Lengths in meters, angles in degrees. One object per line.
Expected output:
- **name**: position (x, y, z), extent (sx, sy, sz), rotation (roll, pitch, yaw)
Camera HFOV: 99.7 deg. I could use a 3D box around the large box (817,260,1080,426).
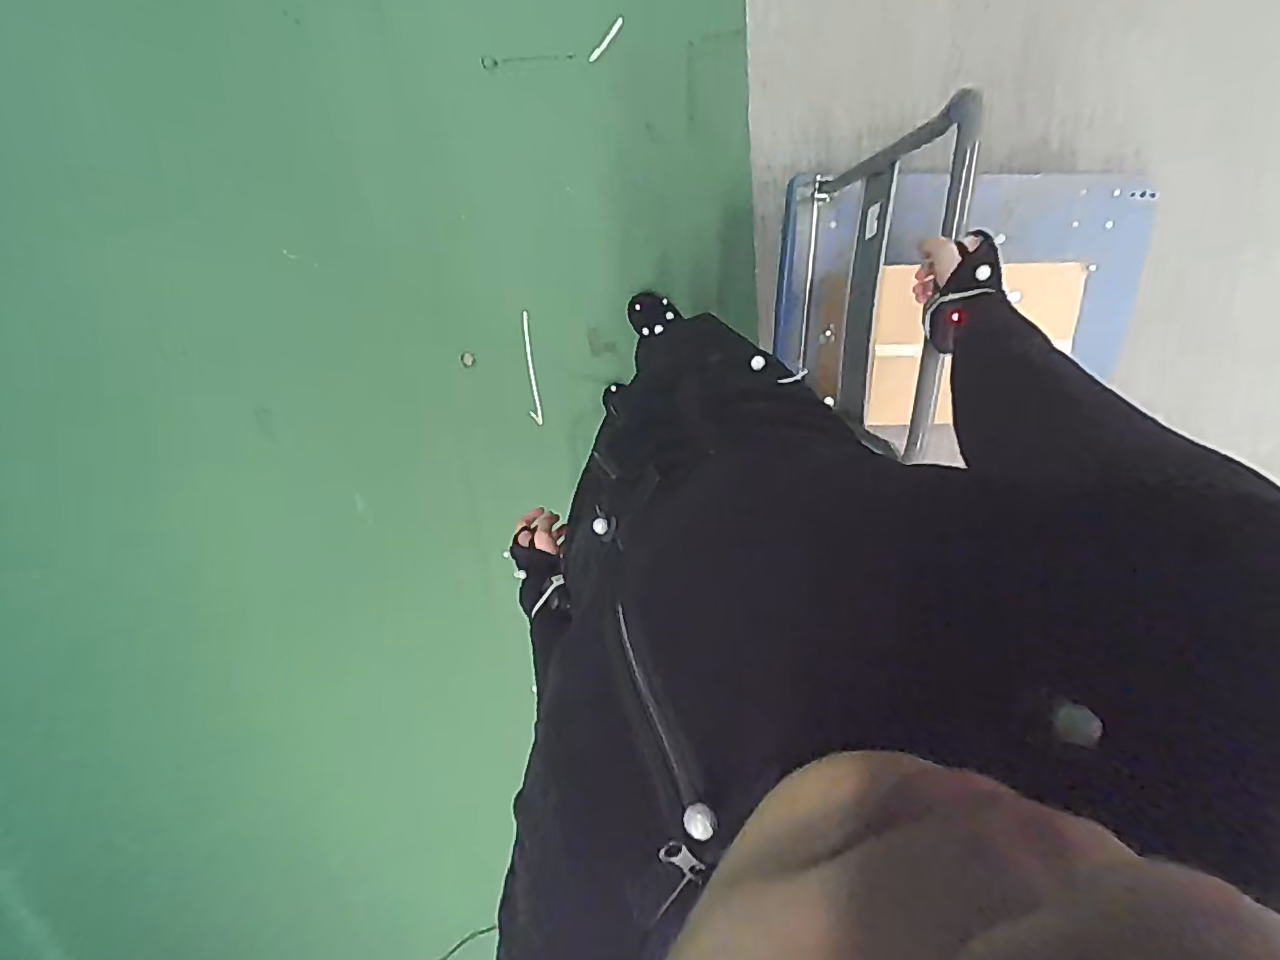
- **large box**: position (0.649, -0.309, 1.219), extent (0.408, 0.320, 0.320), rotation (-2, 108, -1)
